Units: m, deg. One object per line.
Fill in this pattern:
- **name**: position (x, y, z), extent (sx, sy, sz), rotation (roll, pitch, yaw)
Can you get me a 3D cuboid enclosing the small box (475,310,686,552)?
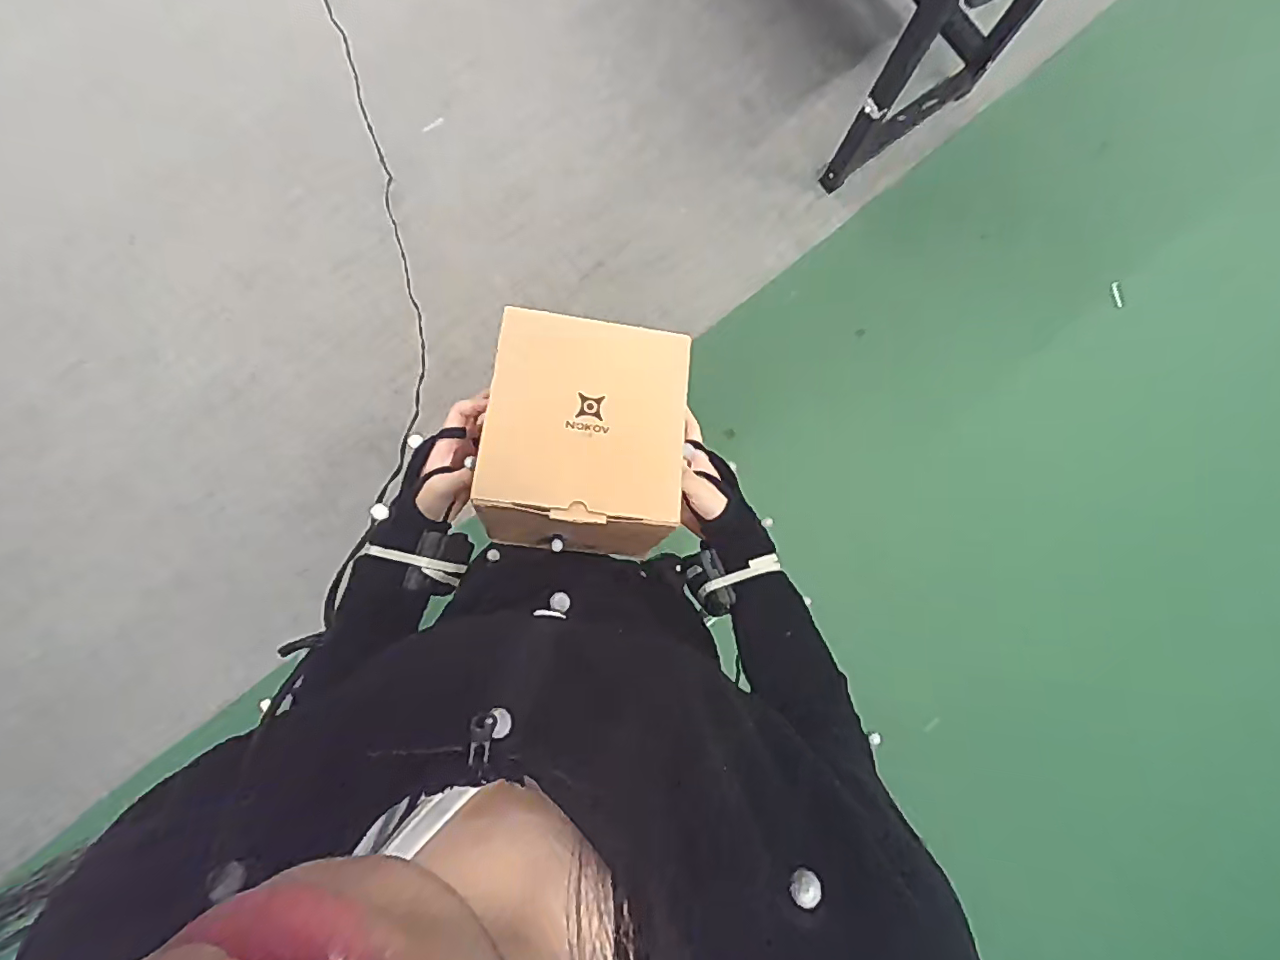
- **small box**: position (-0.058, -0.034, 0.529), extent (0.168, 0.176, 0.179), rotation (6, 73, -8)
